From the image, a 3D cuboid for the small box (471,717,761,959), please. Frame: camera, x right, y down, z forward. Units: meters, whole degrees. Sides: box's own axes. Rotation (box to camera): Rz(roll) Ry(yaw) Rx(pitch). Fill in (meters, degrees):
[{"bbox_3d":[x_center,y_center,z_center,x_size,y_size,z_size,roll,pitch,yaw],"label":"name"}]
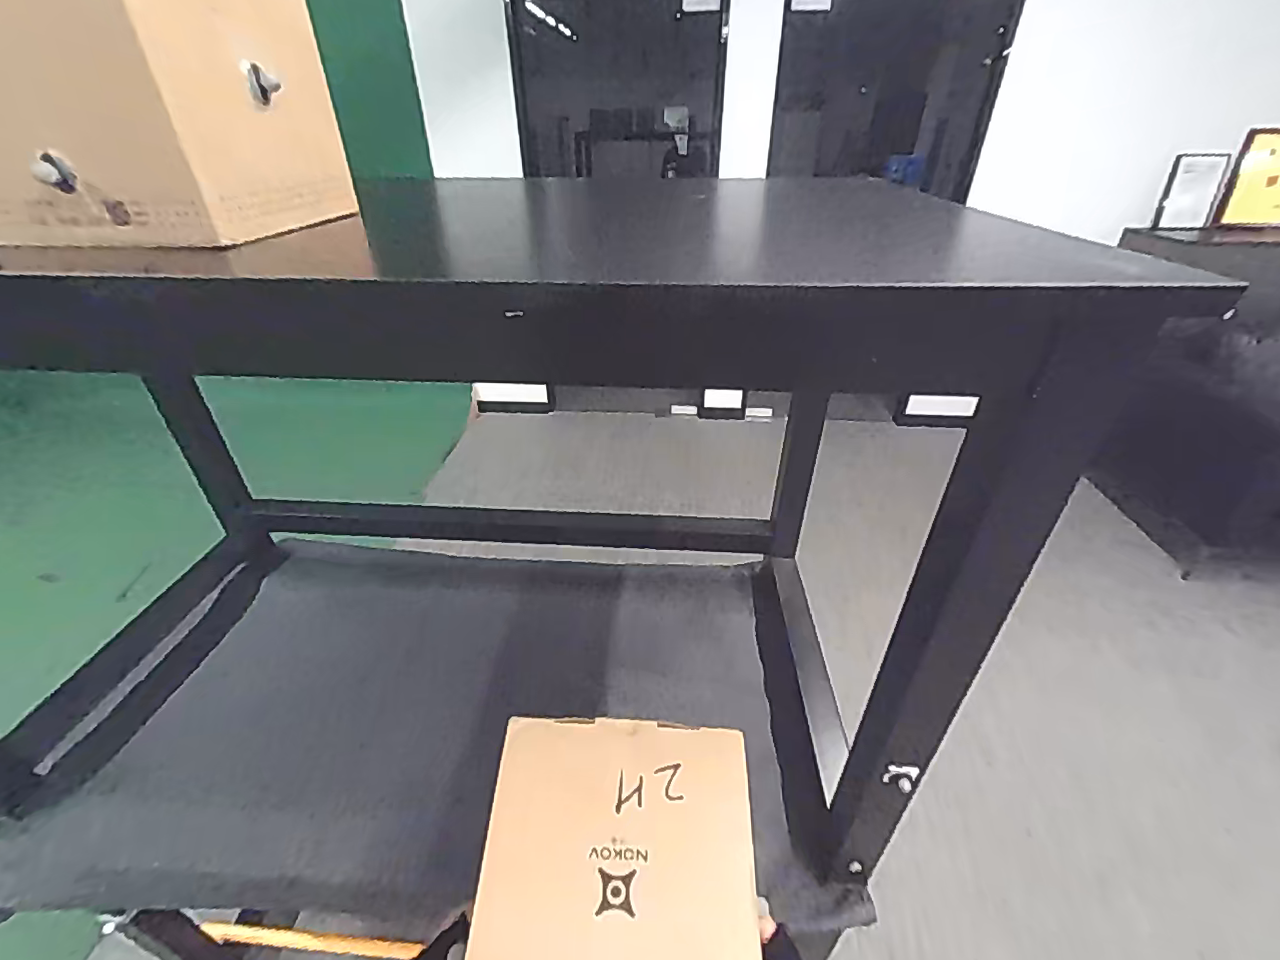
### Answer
[{"bbox_3d":[-0.014,0.288,0.388,0.168,0.176,0.179,4,51,-1],"label":"small box"}]
